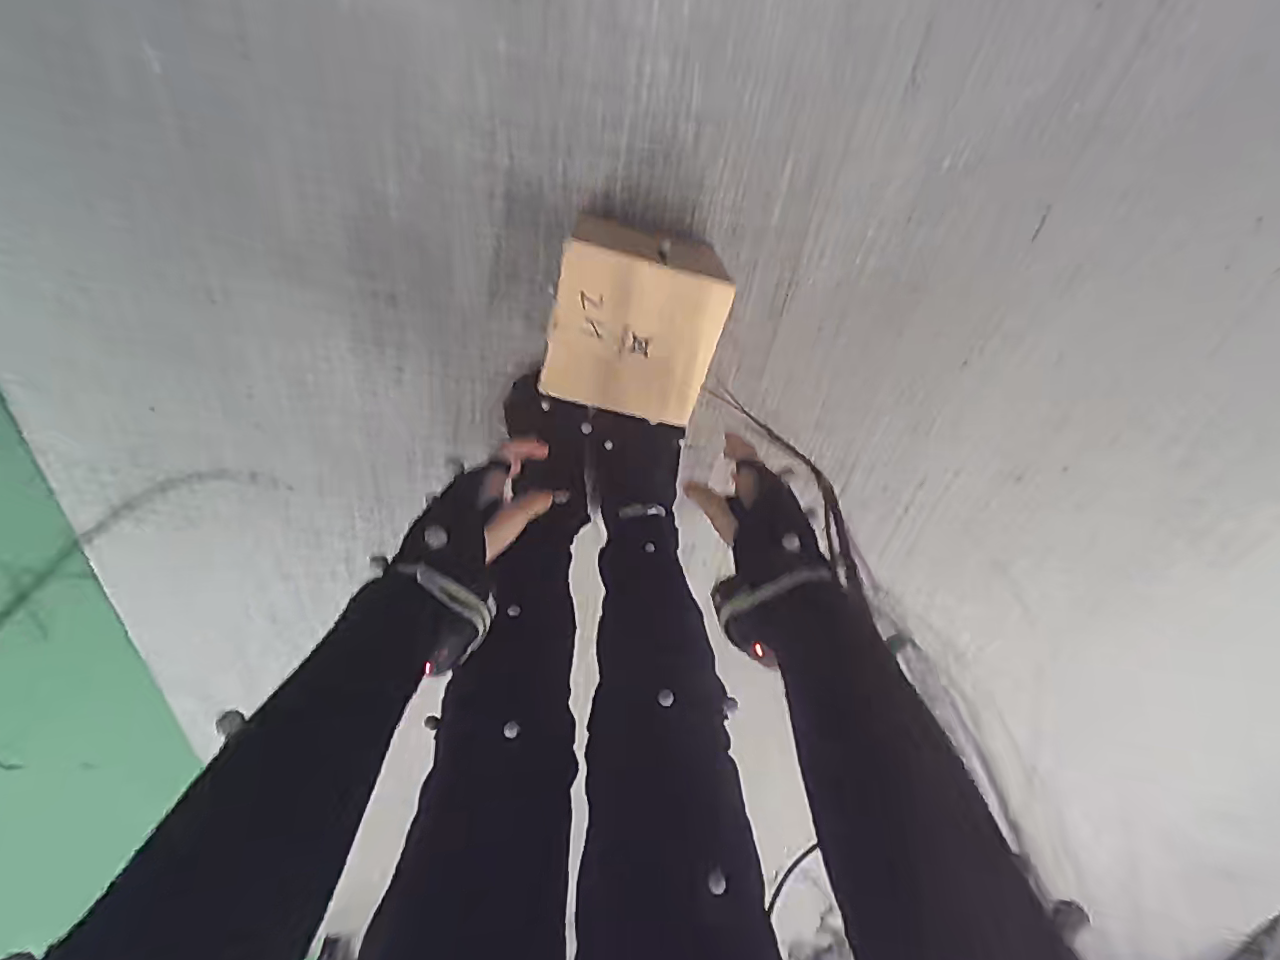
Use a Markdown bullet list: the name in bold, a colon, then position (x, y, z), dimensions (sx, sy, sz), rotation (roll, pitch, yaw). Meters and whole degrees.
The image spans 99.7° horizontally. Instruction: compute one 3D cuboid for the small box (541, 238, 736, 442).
- **small box**: position (-0.008, -0.170, 0.640), dimensions (0.179, 0.176, 0.168), rotation (12, 122, -9)
